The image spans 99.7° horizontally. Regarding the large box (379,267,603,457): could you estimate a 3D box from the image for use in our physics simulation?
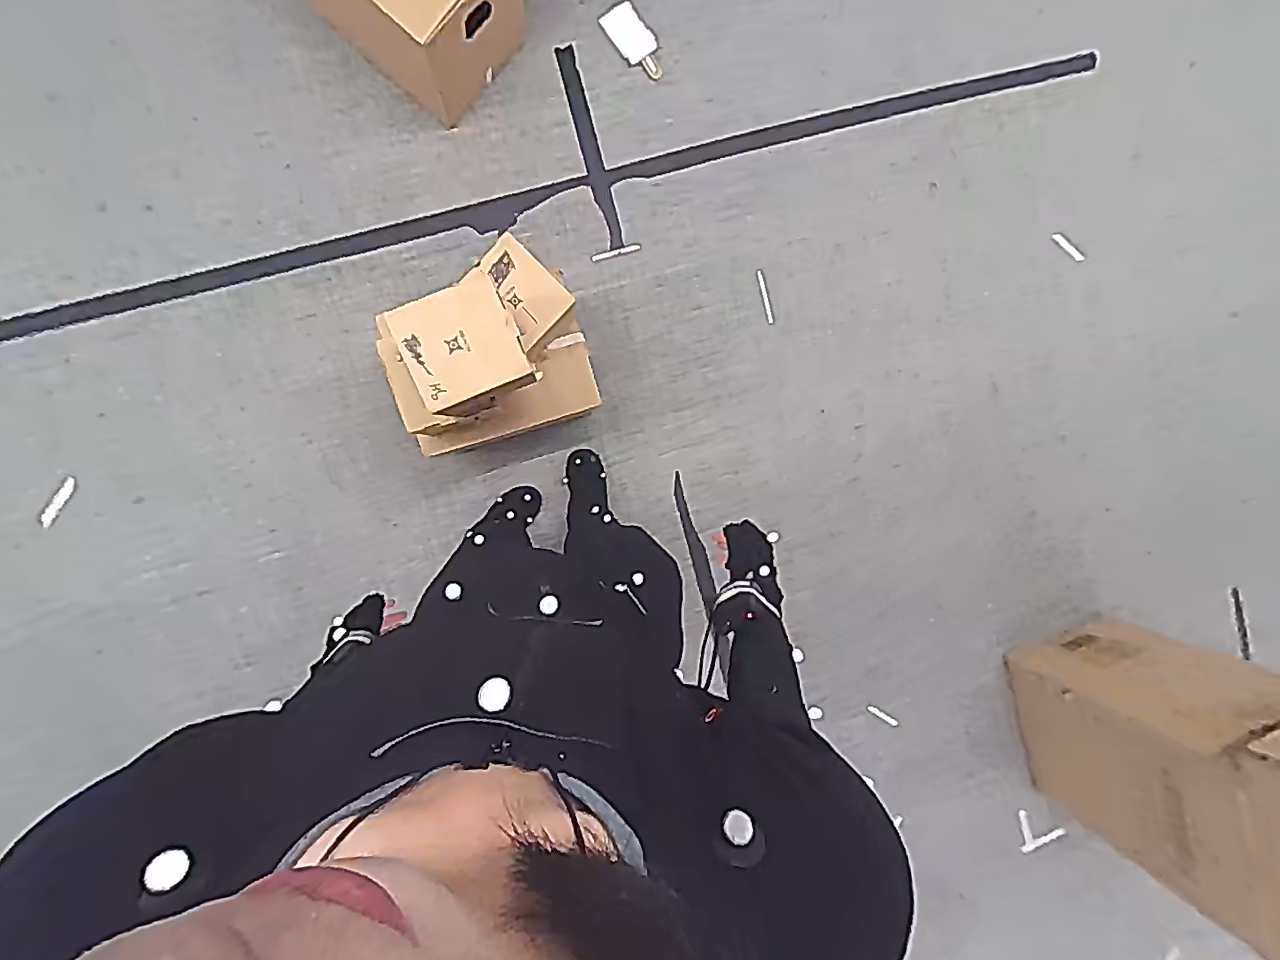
[{"bbox_3d":[-0.338,-0.265,1.306,0.408,0.320,0.320,-19,98,-8],"label":"large box"}]

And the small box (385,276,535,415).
[{"bbox_3d":[-0.287,-0.215,0.905,0.179,0.176,0.168,-23,98,-6],"label":"small box"}]
